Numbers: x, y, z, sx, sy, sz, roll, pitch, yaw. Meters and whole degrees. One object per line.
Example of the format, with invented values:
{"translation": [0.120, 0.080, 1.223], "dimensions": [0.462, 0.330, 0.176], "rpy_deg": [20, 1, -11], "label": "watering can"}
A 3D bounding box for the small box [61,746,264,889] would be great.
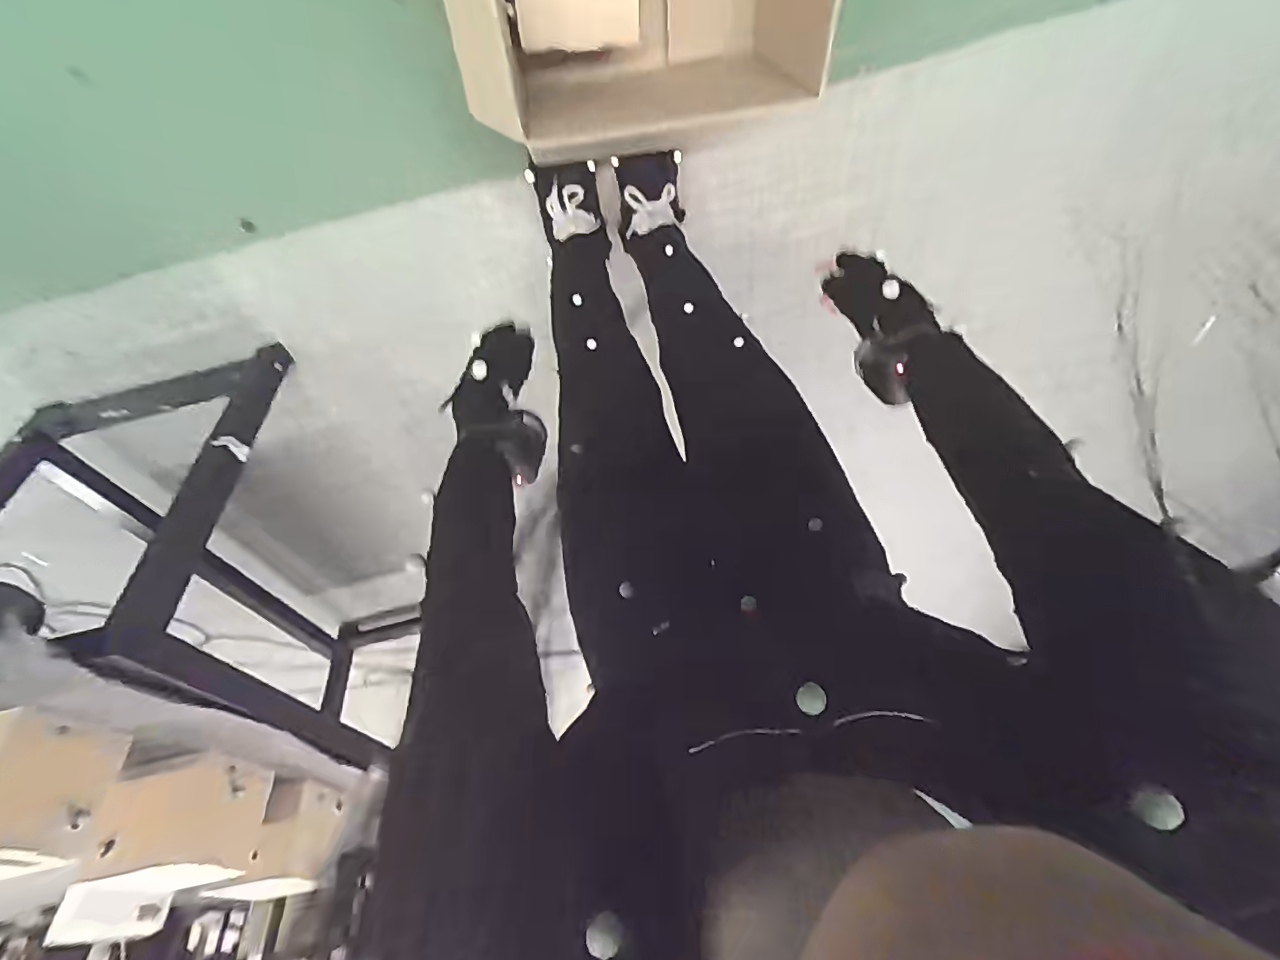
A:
{"translation": [-0.806, 0.585, 0.938], "dimensions": [0.179, 0.176, 0.168], "rpy_deg": [-14, 139, 3], "label": "small box"}

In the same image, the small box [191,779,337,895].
{"translation": [-0.759, 0.739, 1.121], "dimensions": [0.179, 0.176, 0.168], "rpy_deg": [-13, 138, 2], "label": "small box"}
